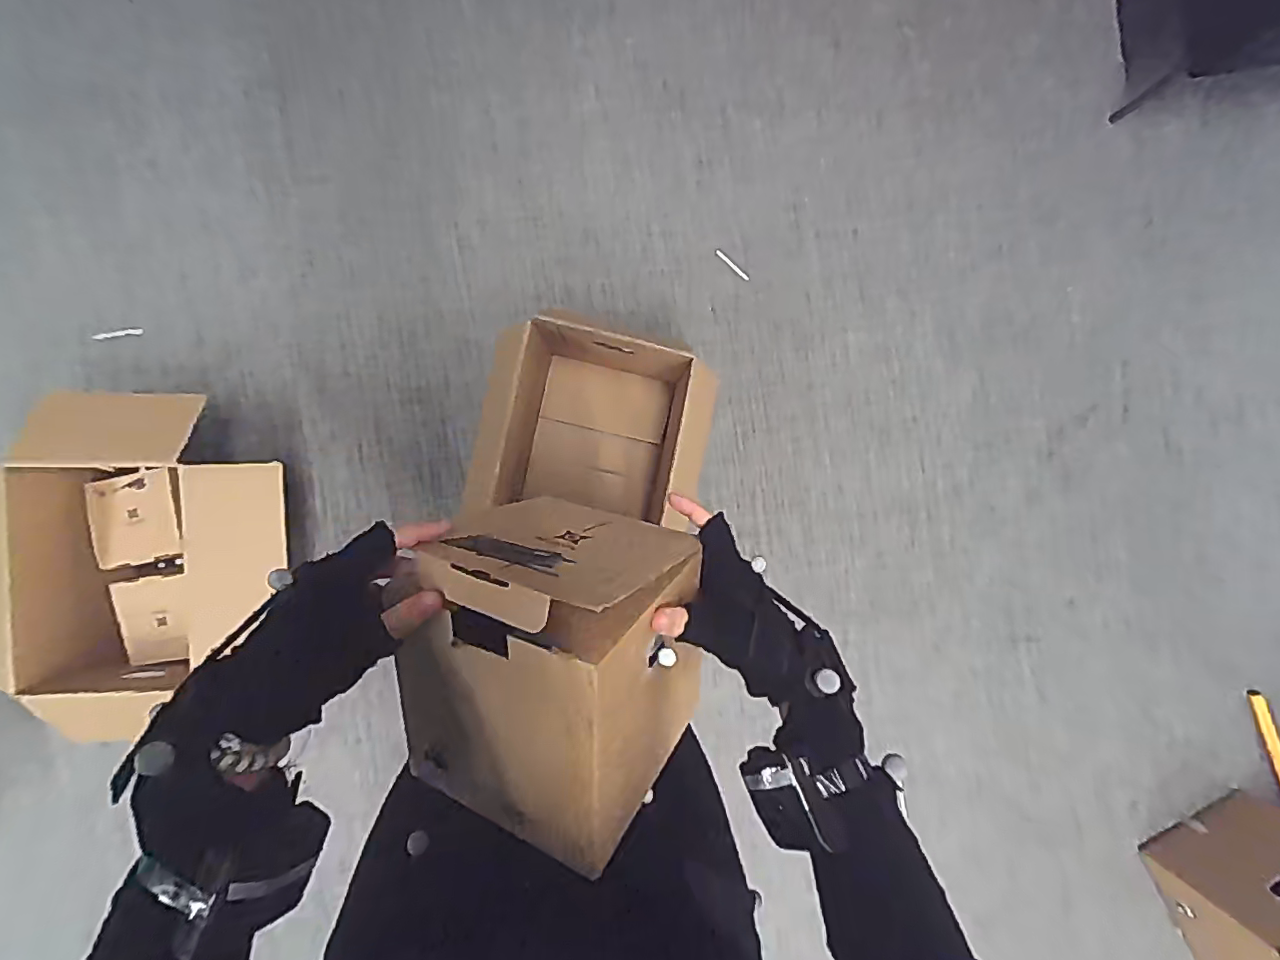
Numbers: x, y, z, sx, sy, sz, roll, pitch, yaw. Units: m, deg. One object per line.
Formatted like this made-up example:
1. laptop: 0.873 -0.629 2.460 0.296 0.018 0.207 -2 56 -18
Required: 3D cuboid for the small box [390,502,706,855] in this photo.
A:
1. small box: -0.058 0.136 0.423 0.168 0.179 0.176 12 112 25
